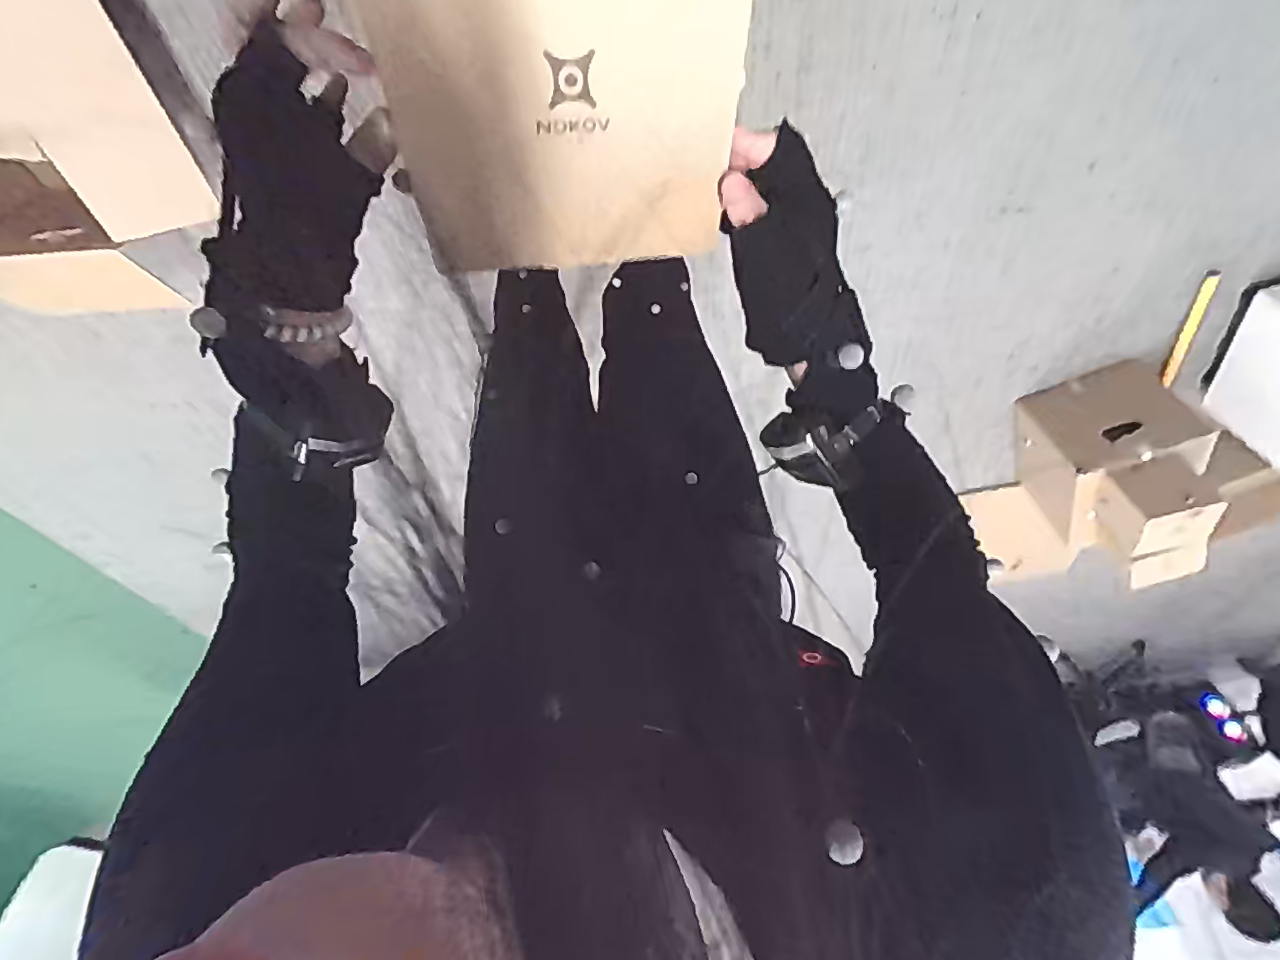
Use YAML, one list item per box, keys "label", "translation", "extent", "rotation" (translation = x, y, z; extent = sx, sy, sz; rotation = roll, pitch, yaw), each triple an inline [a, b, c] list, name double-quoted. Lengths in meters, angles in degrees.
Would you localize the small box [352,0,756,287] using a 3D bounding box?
- label: "small box"
  translation: [-0.047, -0.235, 0.293]
  extent: [0.168, 0.176, 0.179]
  rotation: [-8, 145, -7]
